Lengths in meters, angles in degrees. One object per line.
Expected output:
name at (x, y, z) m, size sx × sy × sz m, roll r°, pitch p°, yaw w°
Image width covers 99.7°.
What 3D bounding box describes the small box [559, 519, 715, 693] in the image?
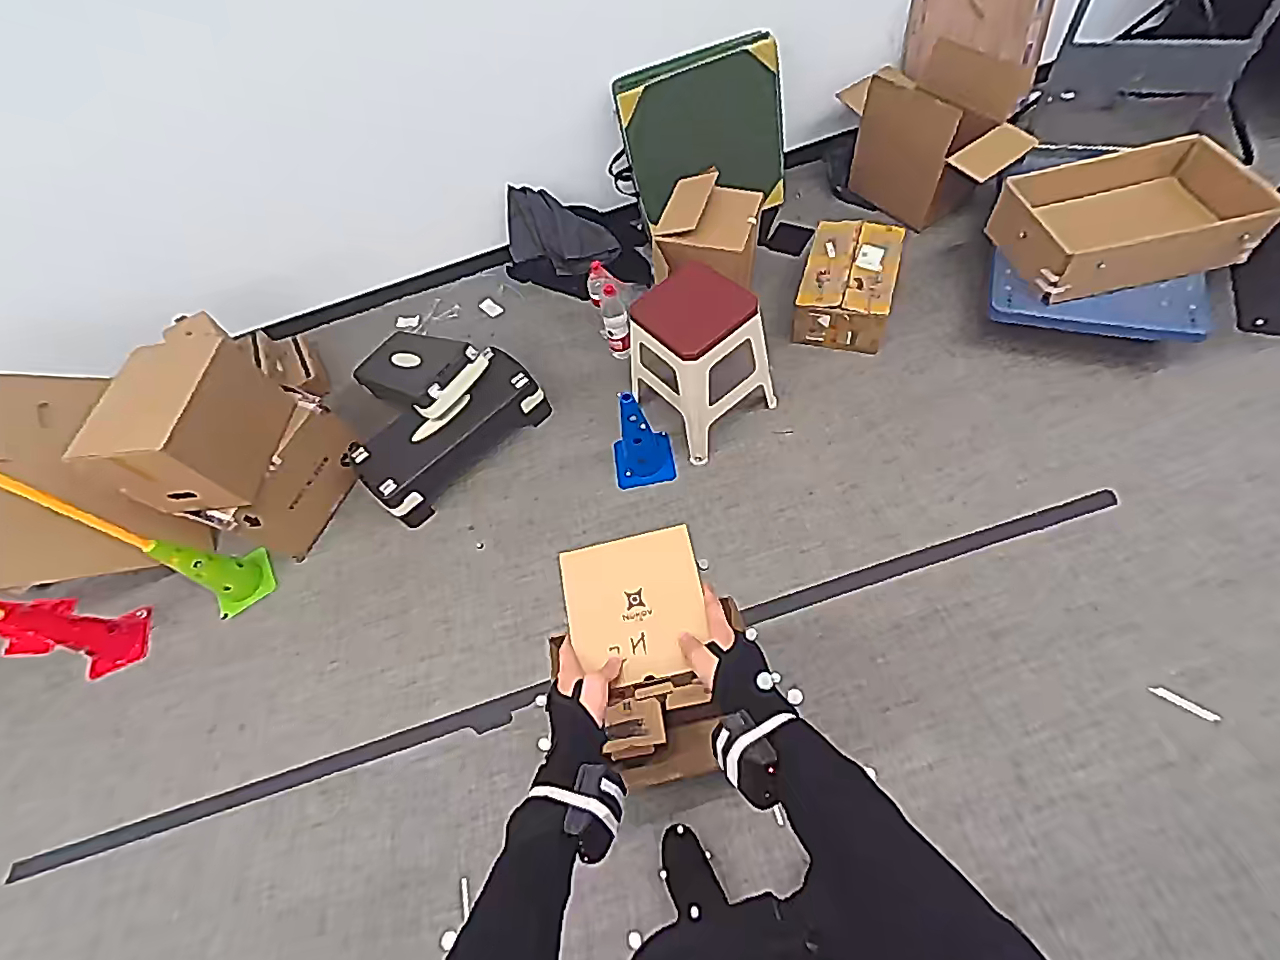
small box at (0.000, 0.173, 0.715) m, size 0.168 × 0.176 × 0.179 m, roll -13°, pitch 66°, yaw 3°
